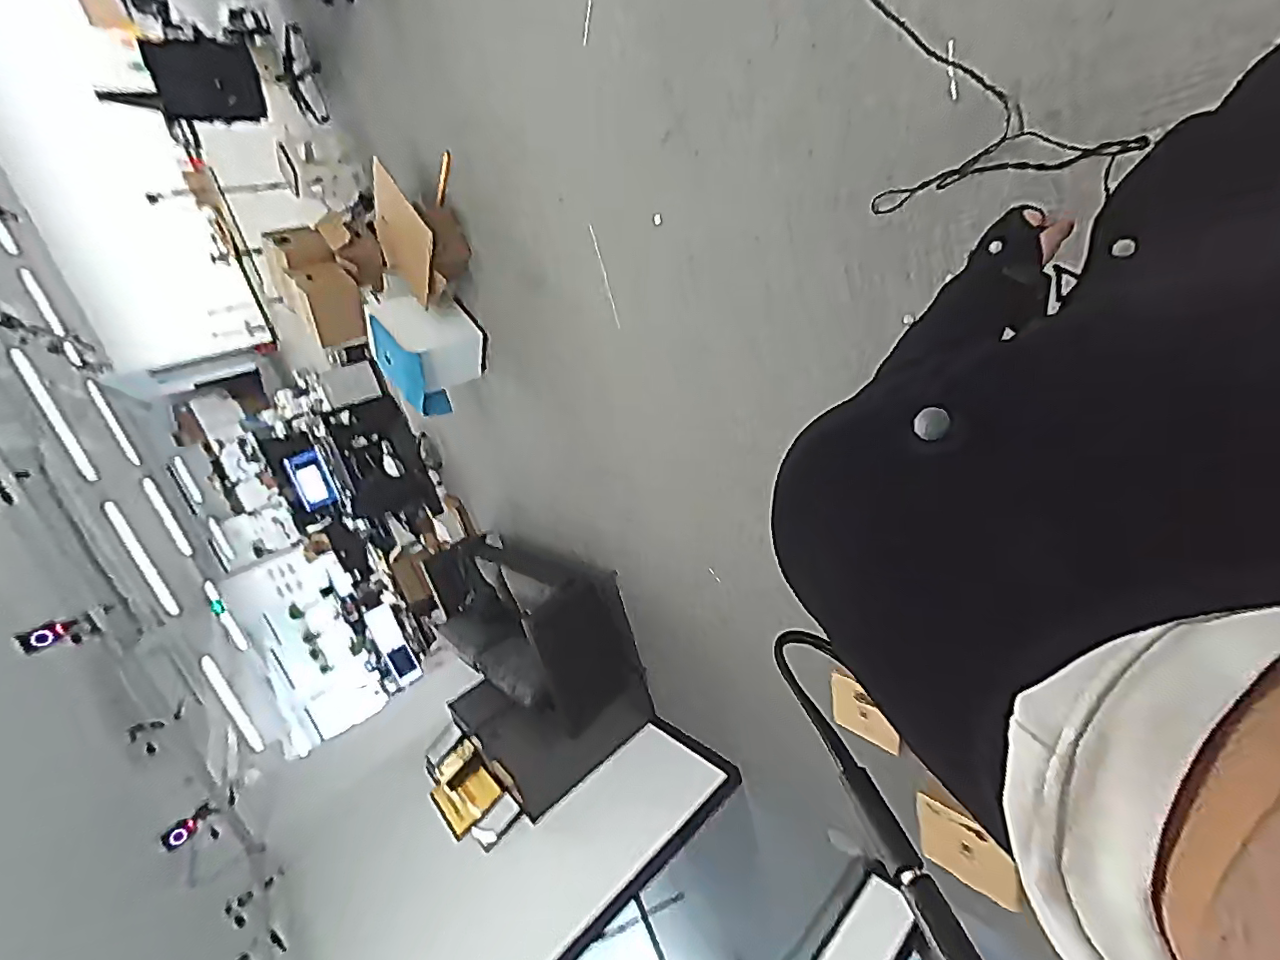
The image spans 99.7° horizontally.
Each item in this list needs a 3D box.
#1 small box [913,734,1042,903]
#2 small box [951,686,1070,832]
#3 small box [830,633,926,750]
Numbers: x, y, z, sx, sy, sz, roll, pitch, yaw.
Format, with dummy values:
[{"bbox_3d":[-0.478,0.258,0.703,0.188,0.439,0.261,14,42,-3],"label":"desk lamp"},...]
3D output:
[{"bbox_3d":[0.651,0.639,1.041,0.168,0.176,0.179,11,121,50],"label":"small box"},{"bbox_3d":[0.771,0.568,1.128,0.168,0.176,0.179,12,122,50],"label":"small box"},{"bbox_3d":[0.589,0.513,1.338,0.168,0.176,0.179,16,126,47],"label":"small box"}]
